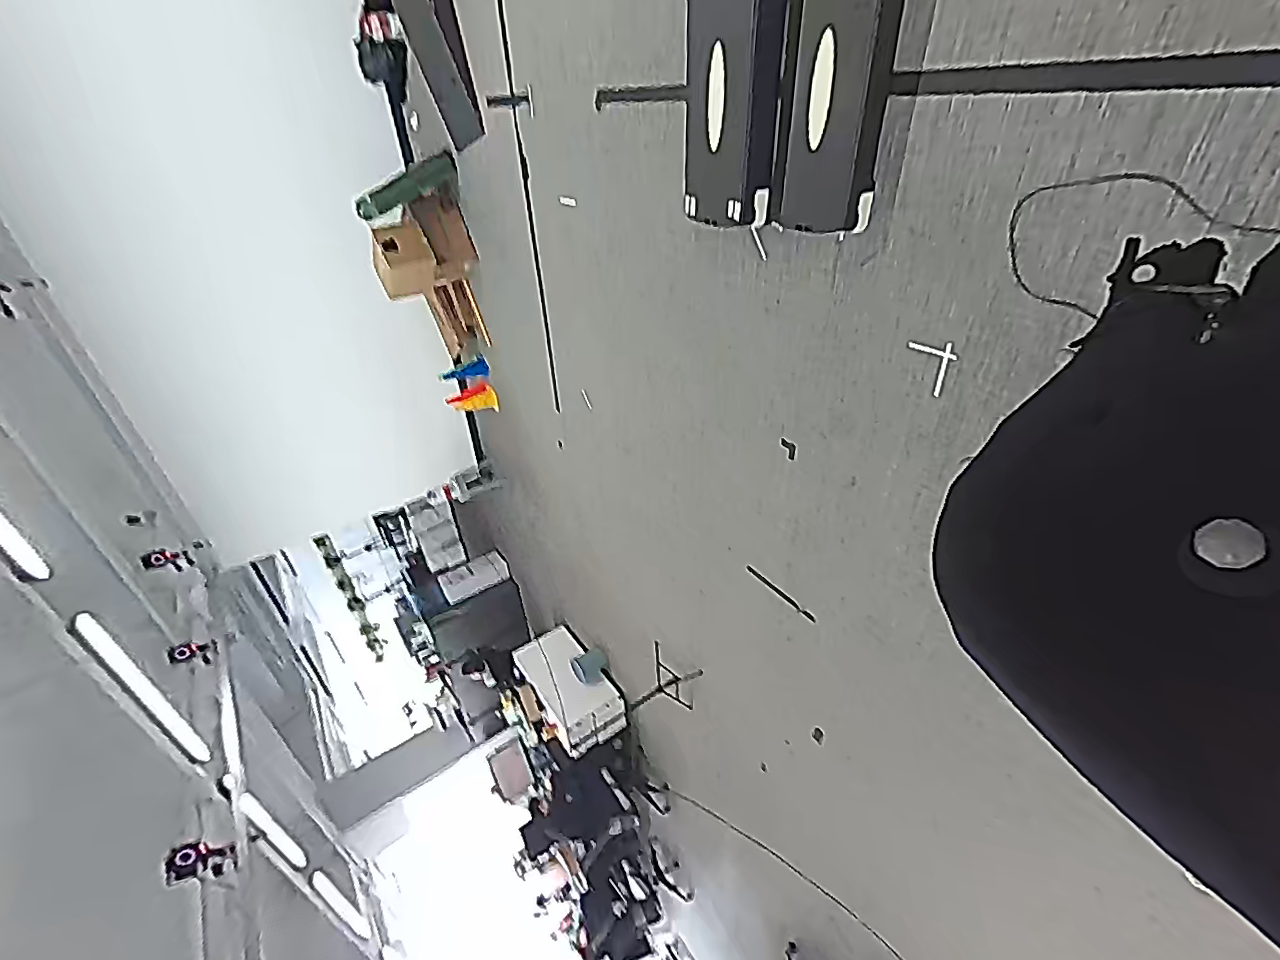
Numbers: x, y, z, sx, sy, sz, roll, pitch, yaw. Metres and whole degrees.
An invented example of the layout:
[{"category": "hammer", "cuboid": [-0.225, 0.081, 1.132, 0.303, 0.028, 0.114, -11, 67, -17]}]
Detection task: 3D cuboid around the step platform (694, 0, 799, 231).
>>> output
[{"category": "step platform", "cuboid": [0.315, -1.095, 1.560, 0.286, 0.204, 0.684, 35, 139, 43]}]
